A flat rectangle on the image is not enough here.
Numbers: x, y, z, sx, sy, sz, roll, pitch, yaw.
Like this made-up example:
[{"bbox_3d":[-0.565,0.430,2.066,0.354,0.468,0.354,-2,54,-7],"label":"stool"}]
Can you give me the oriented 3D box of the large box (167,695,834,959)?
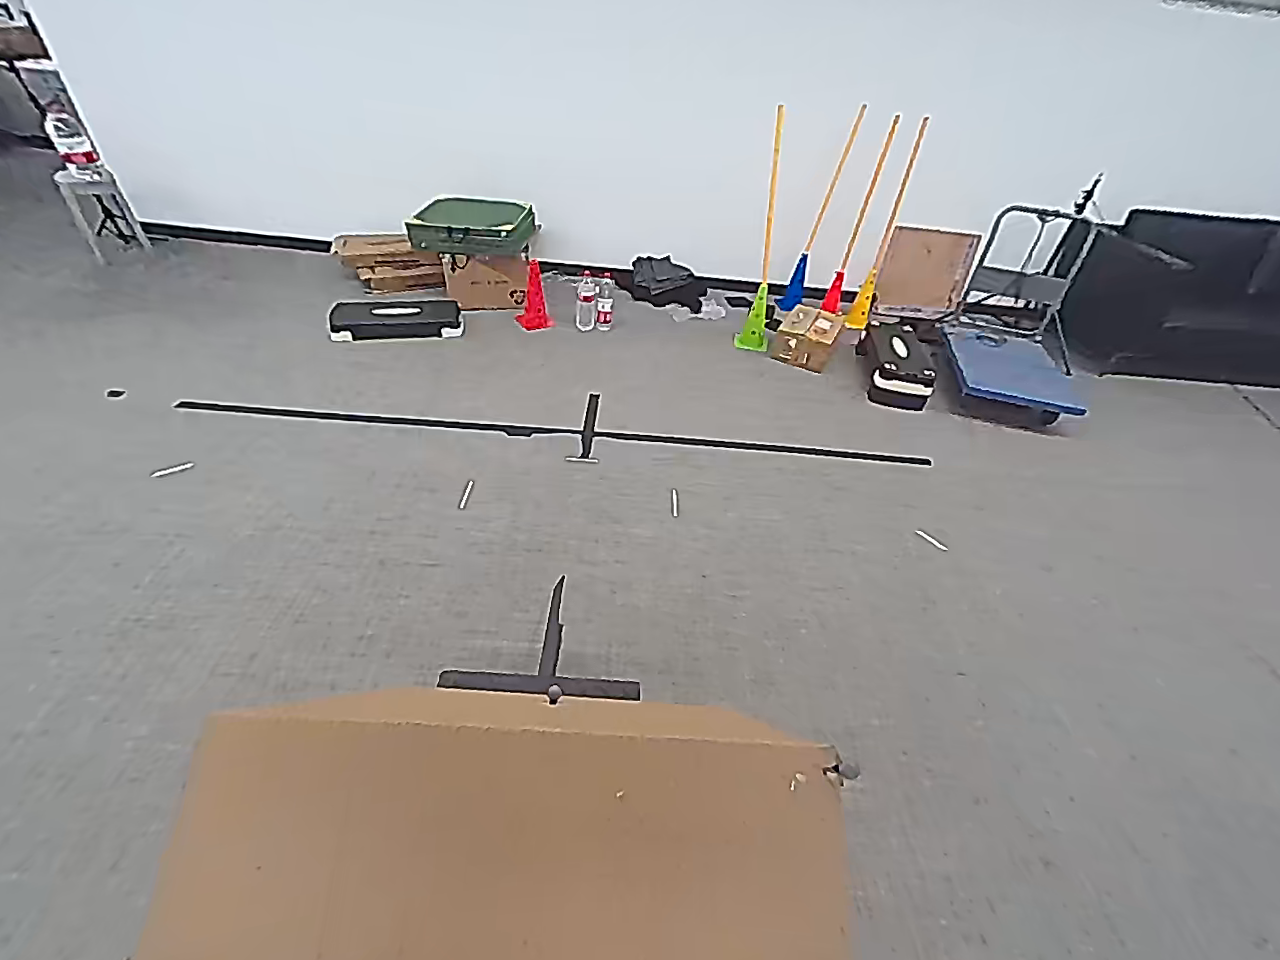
[{"bbox_3d":[-0.090,0.357,0.456,0.408,0.320,0.320,4,73,-3],"label":"large box"}]
